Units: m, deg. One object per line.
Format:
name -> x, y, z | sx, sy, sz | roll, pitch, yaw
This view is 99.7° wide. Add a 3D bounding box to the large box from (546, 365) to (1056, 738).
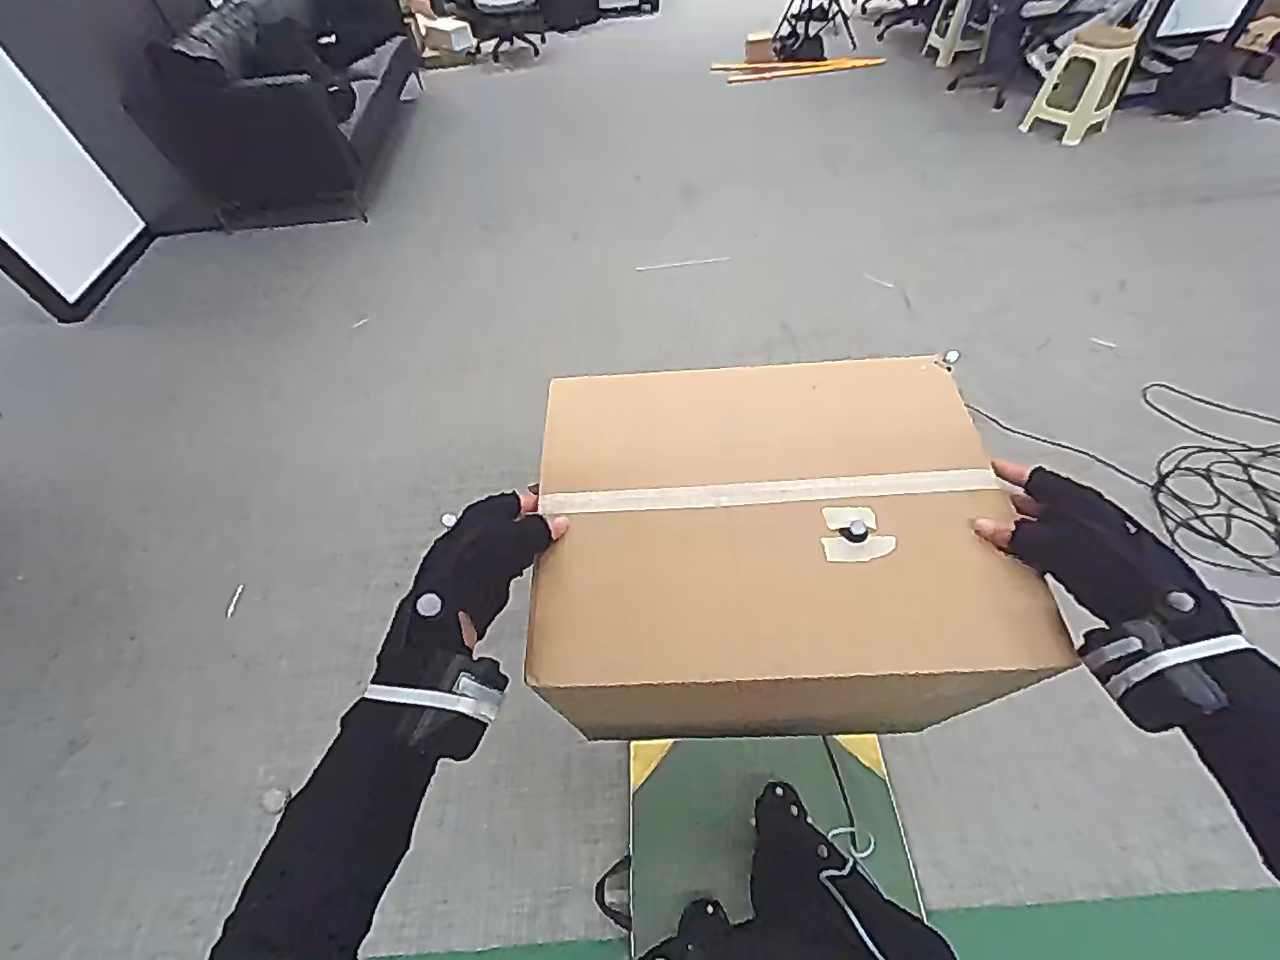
large box -> 0.123, 0.098, 0.621 | 0.408, 0.320, 0.320 | -3, 58, 1
